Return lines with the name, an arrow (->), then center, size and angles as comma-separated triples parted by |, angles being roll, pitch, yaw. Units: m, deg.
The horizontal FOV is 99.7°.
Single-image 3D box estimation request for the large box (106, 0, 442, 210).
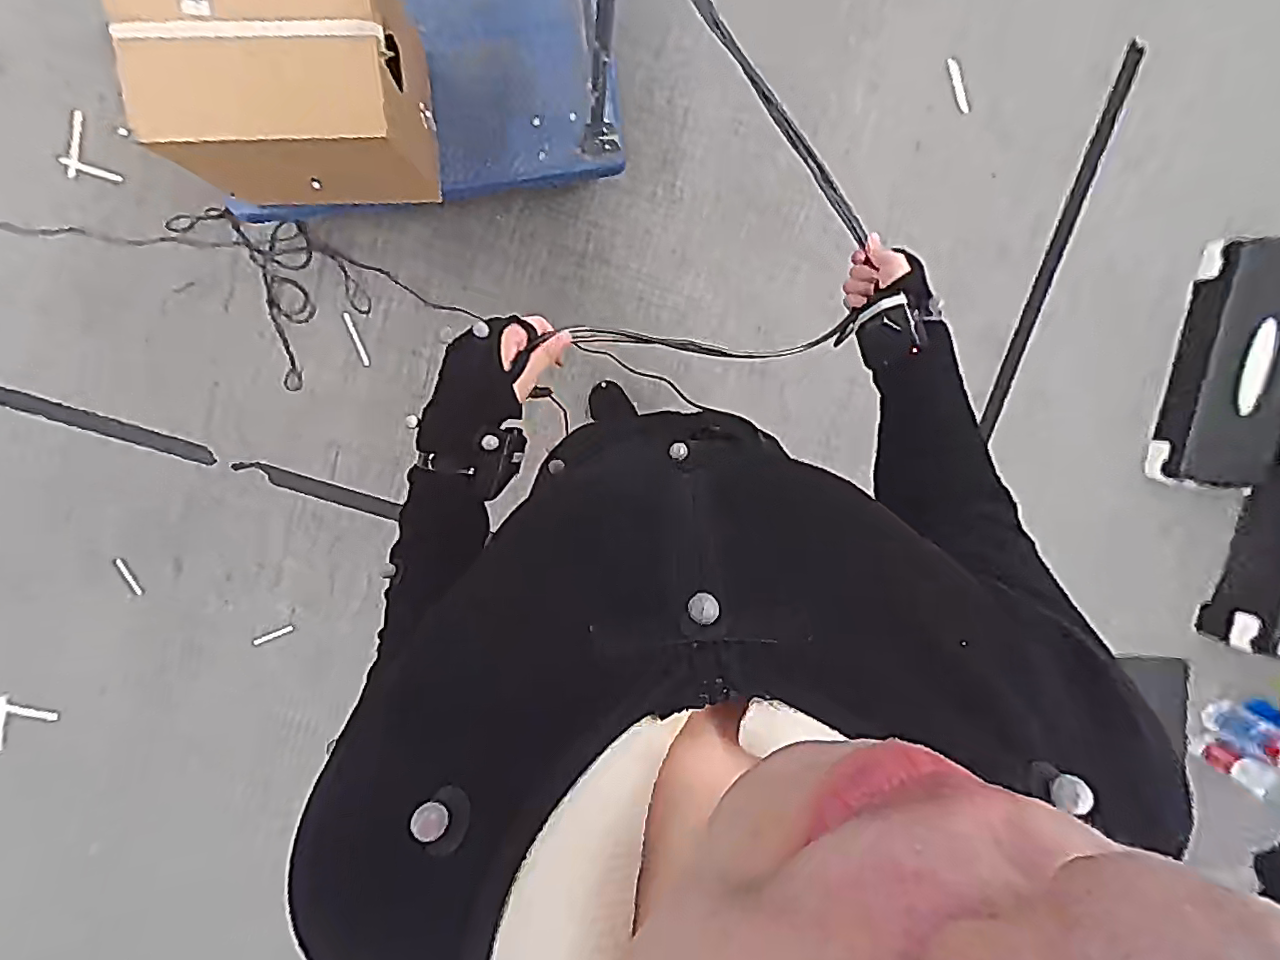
large box -> -0.627, -0.715, 0.997 | 0.408, 0.320, 0.320 | -4, 99, -3
